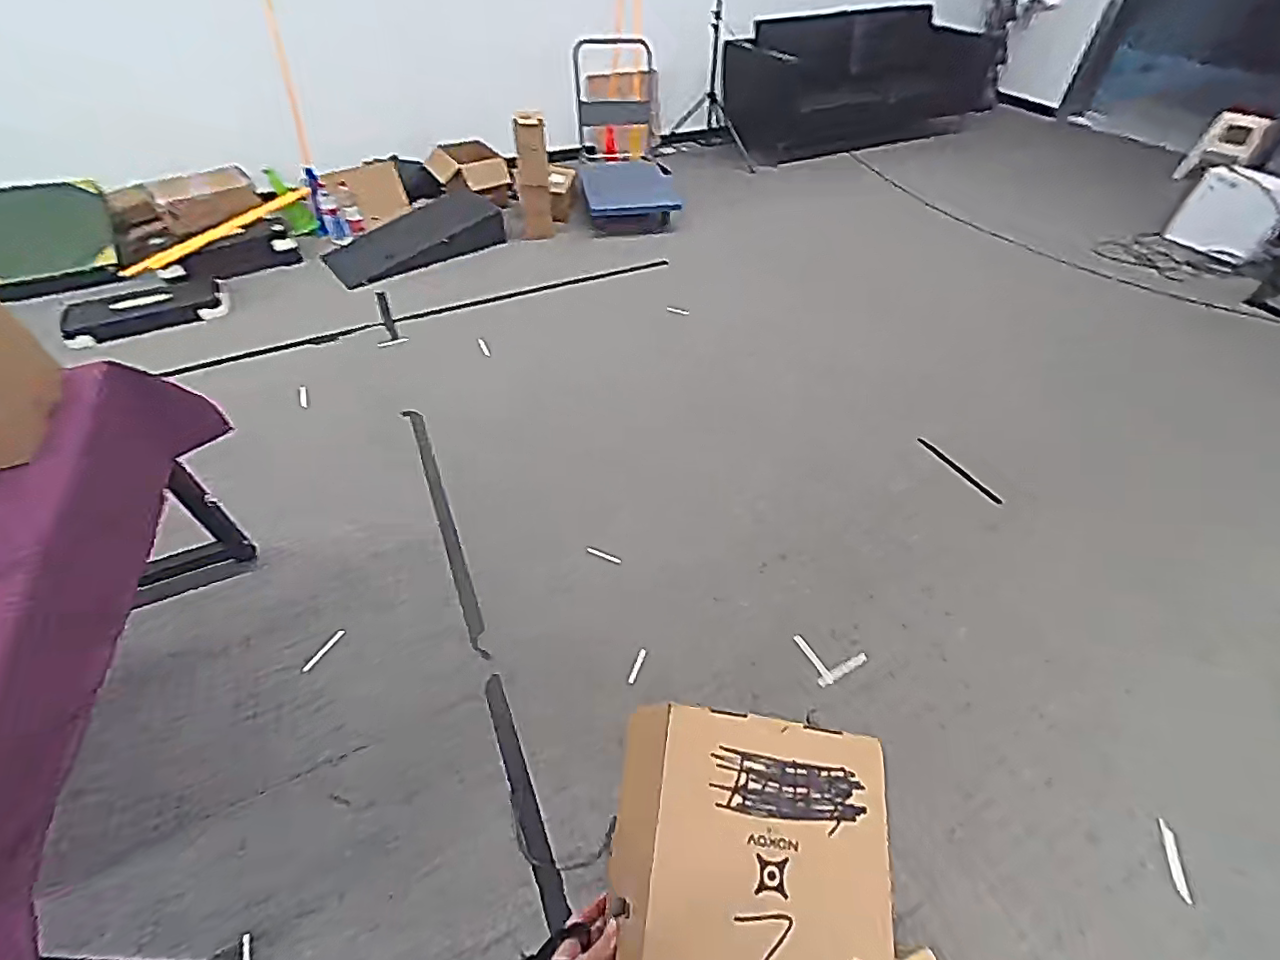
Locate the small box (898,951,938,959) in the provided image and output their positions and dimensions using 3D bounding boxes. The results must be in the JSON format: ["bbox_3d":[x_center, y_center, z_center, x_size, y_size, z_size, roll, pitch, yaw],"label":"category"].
[{"bbox_3d":[0.497,1.010,0.990,0.168,0.176,0.179,-14,49,-14],"label":"small box"}]
